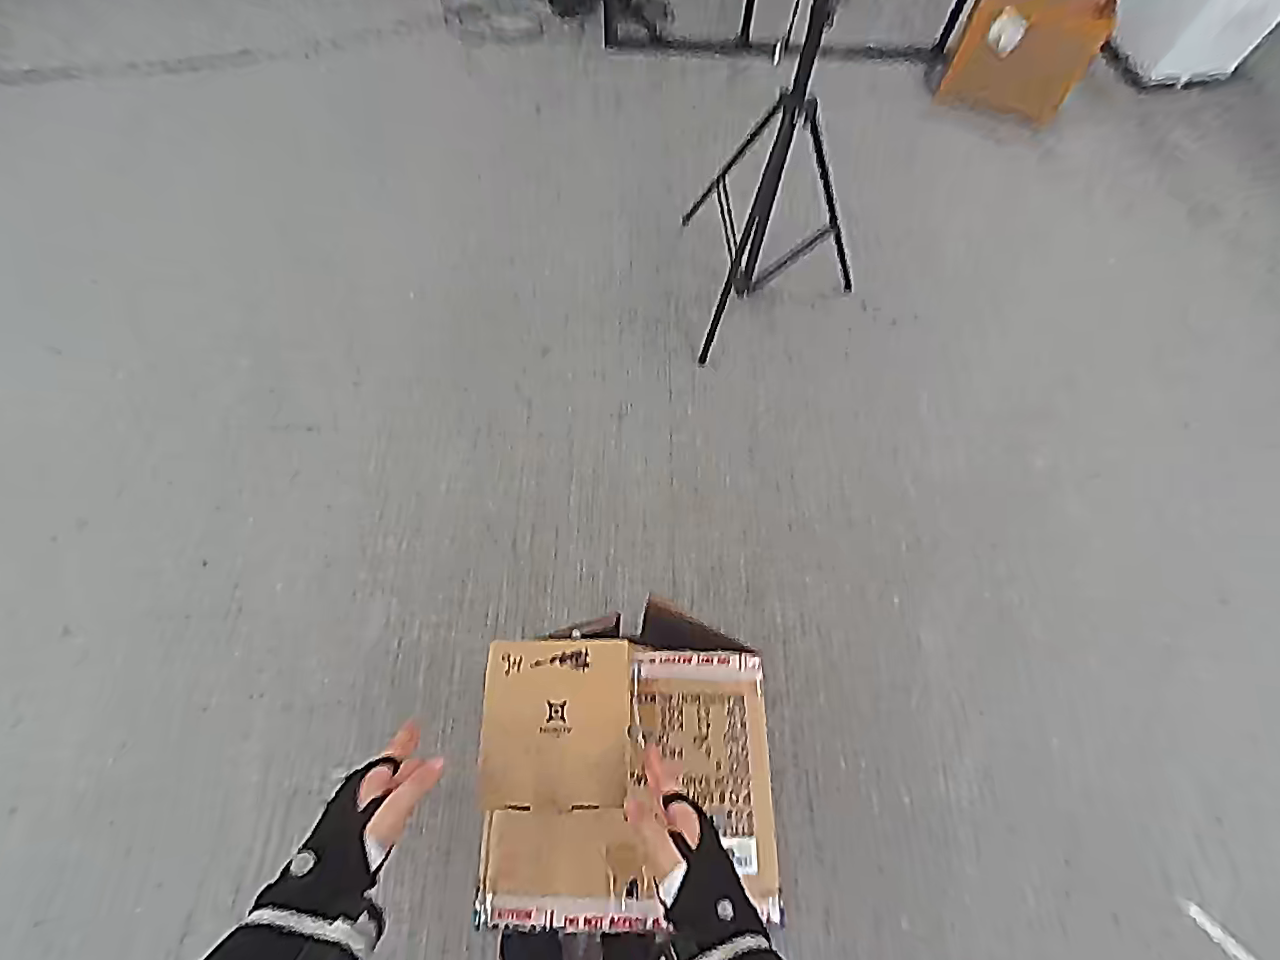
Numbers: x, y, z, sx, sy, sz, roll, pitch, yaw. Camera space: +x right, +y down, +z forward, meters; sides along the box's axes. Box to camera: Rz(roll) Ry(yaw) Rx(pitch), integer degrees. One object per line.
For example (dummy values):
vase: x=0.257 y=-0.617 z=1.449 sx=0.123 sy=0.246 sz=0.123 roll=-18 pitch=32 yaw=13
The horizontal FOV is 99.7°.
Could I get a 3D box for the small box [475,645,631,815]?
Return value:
small box: x=-0.096 y=0.305 z=0.684 sx=0.168 sy=0.176 sz=0.179 roll=0 pitch=69 yaw=-1
